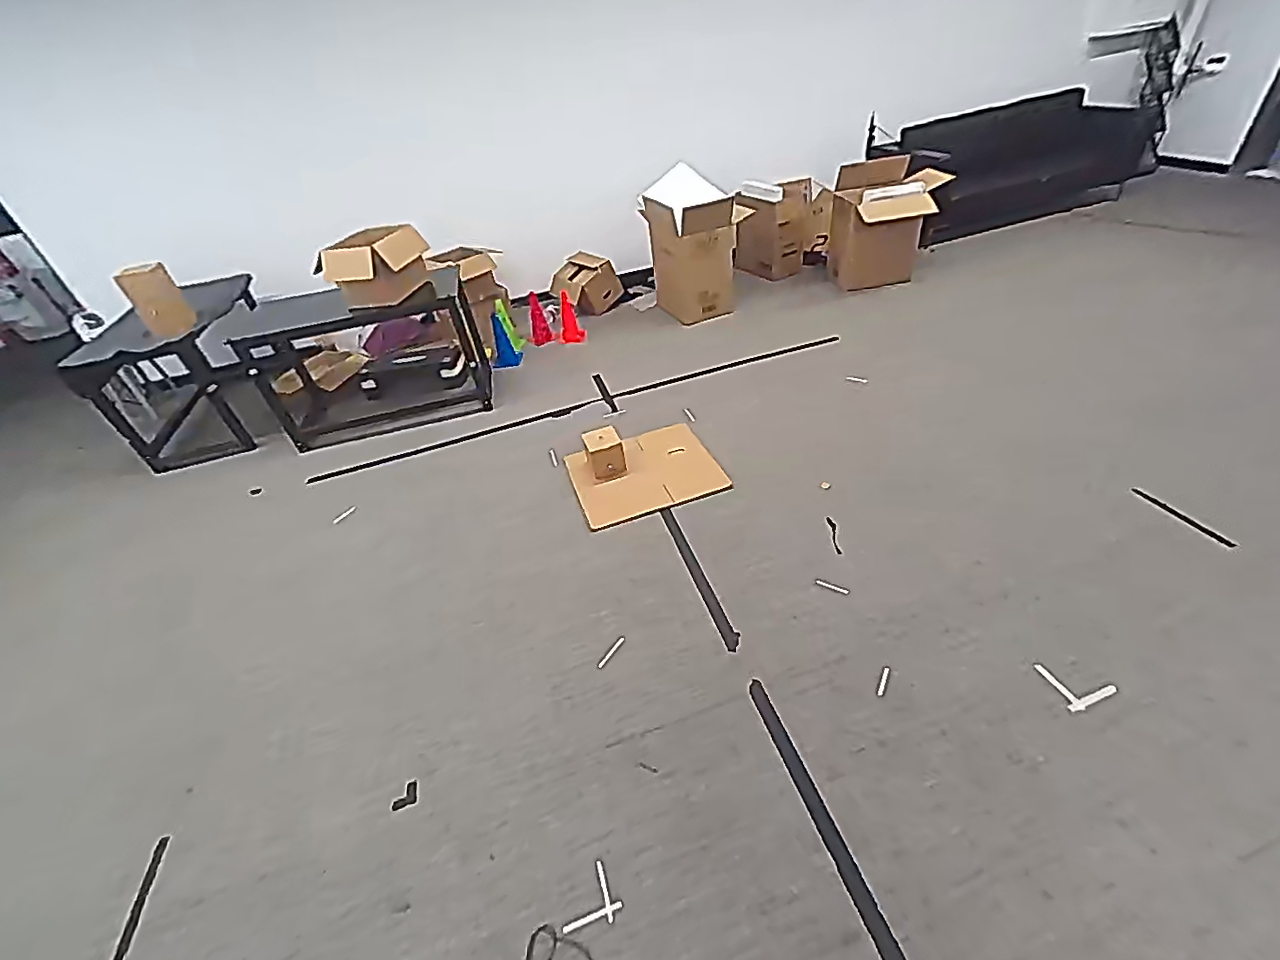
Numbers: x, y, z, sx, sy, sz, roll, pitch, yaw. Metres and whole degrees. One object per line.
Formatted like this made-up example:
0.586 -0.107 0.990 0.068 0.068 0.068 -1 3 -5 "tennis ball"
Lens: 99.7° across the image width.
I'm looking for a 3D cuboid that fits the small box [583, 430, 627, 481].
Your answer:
-0.175 -0.122 2.717 0.168 0.176 0.179 -18 39 -10 "small box"
